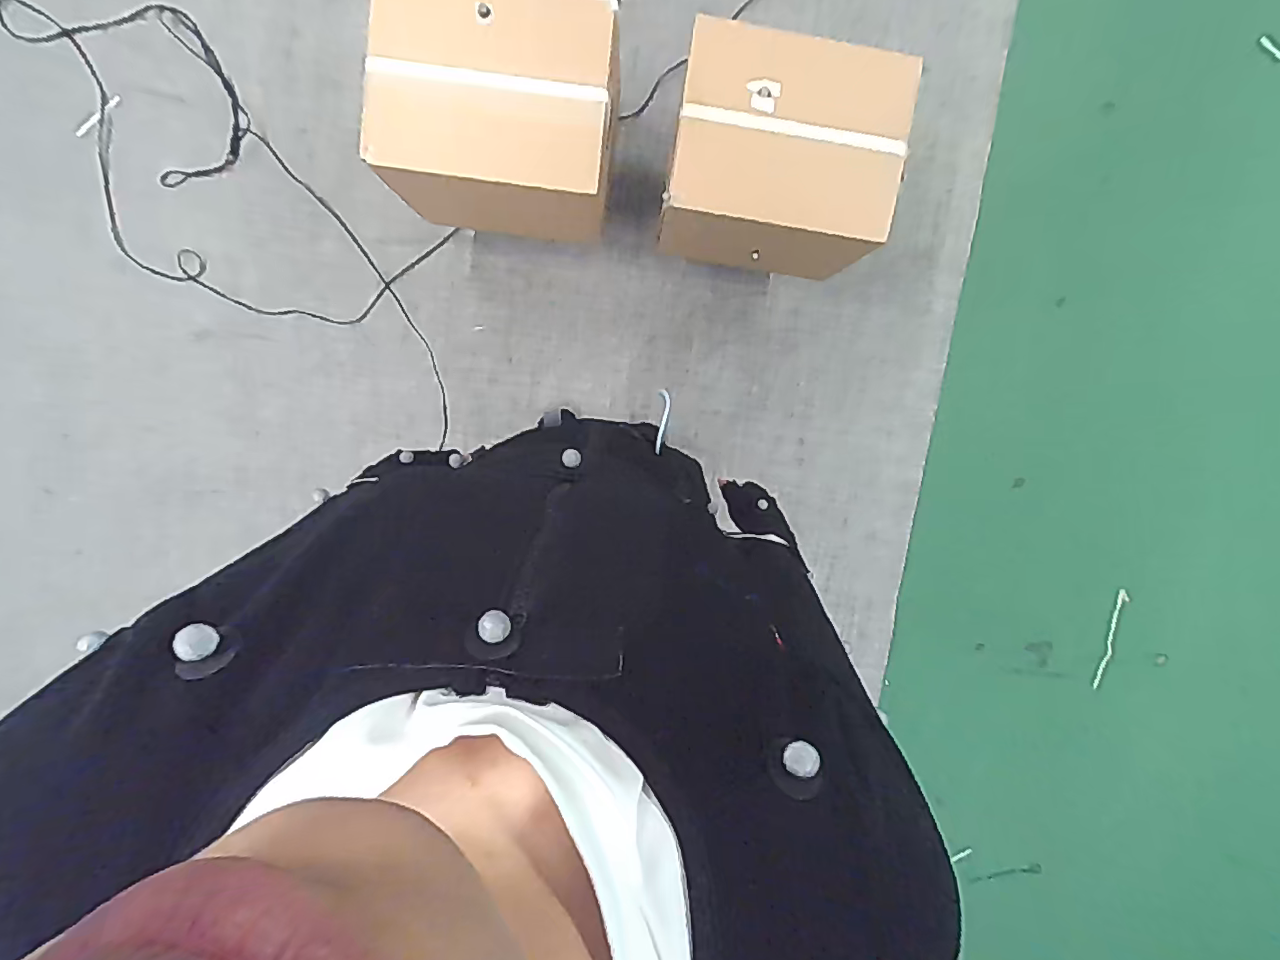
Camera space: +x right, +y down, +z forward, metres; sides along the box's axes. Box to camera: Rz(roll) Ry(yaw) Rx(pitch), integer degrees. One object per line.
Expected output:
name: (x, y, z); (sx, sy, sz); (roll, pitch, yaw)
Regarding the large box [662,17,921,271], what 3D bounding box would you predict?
large box: (0.272, -0.641, 1.101); (0.408, 0.320, 0.320); (9, 98, -3)
